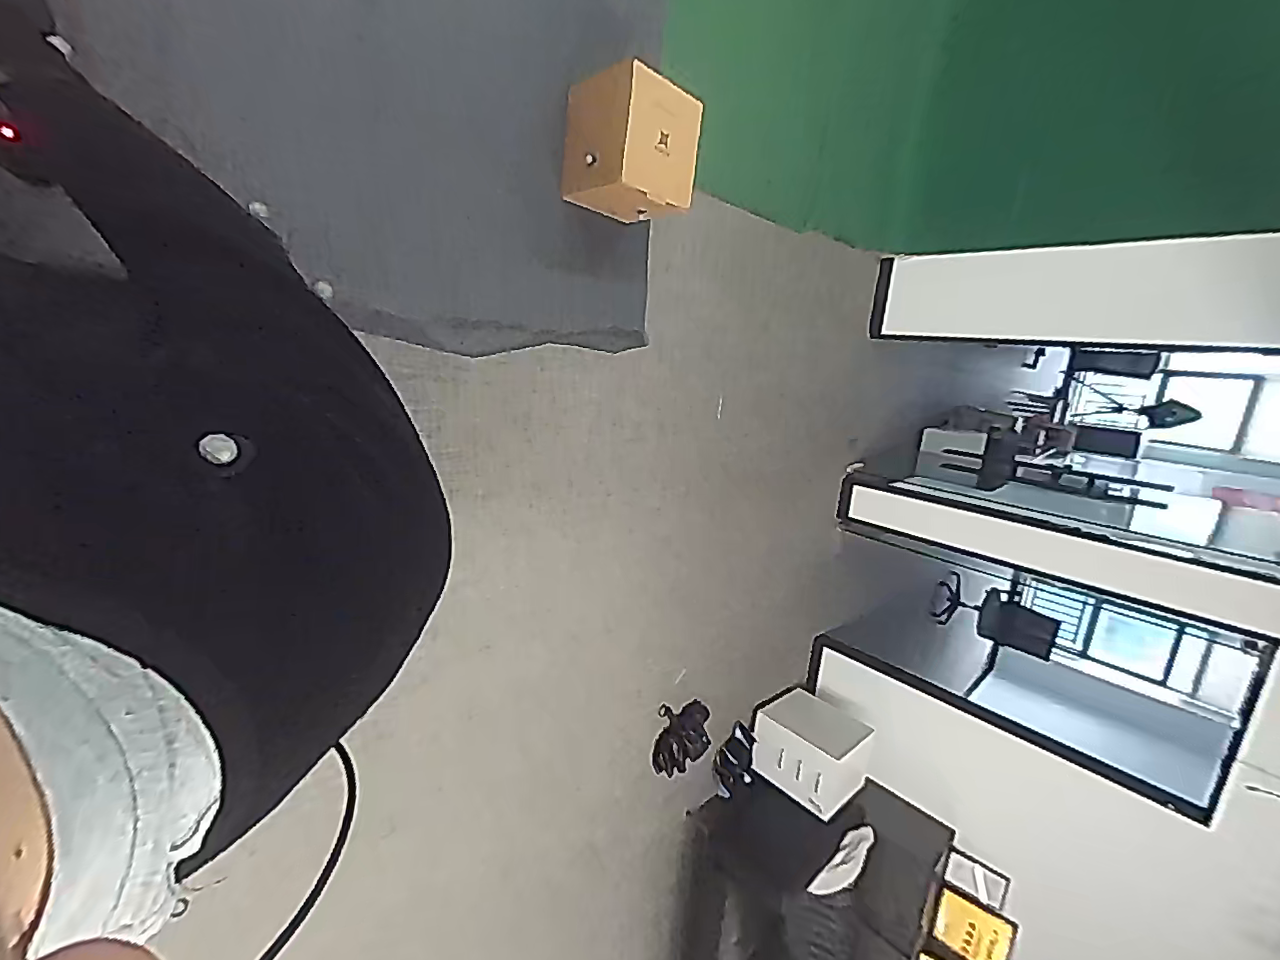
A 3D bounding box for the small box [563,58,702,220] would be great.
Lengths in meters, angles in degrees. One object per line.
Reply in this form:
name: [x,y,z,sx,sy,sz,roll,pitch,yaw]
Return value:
small box: [-0.017,-0.563,0.927,0.168,0.176,0.179,-6,105,-44]
